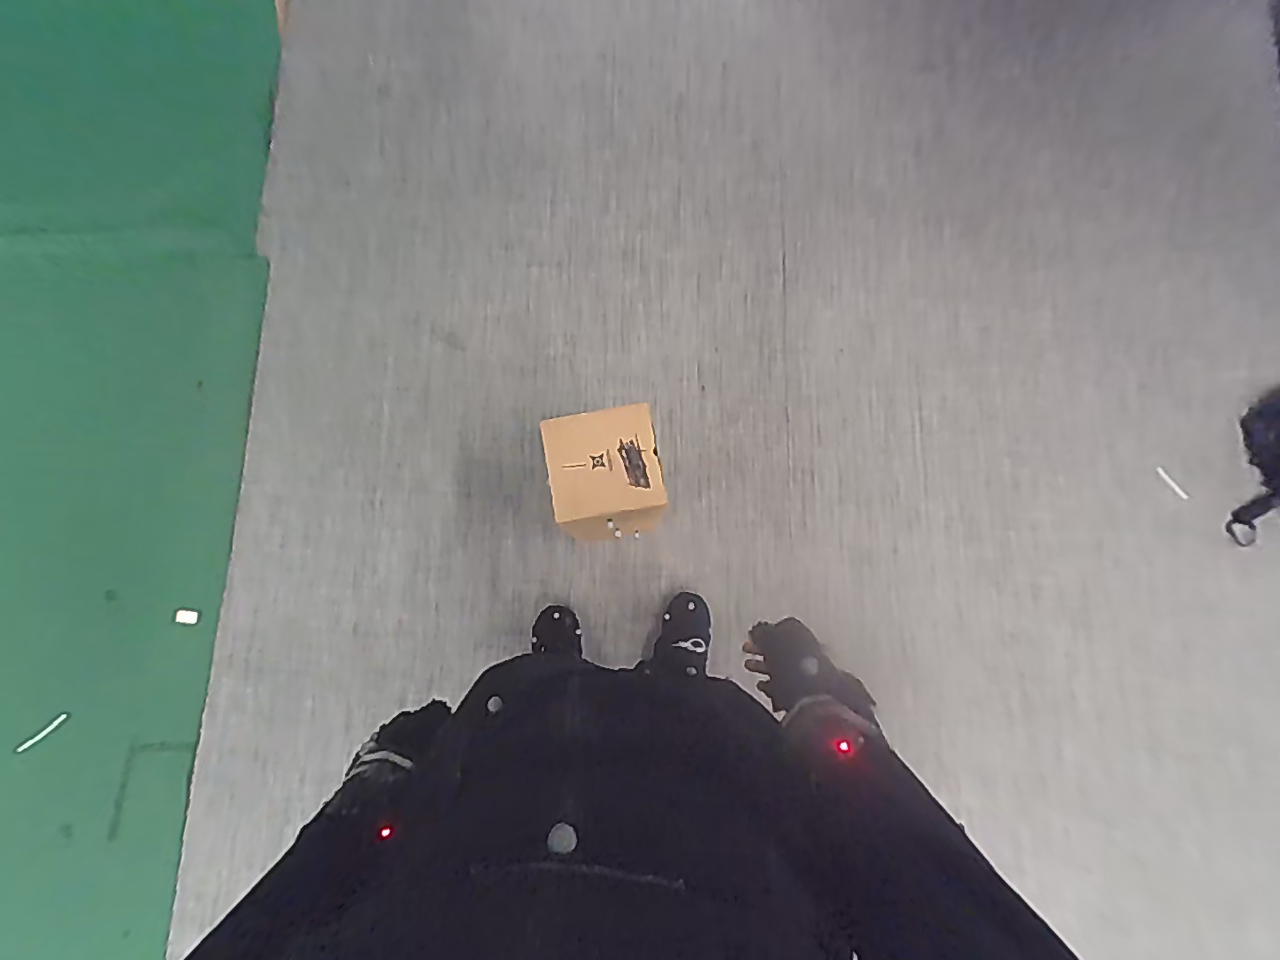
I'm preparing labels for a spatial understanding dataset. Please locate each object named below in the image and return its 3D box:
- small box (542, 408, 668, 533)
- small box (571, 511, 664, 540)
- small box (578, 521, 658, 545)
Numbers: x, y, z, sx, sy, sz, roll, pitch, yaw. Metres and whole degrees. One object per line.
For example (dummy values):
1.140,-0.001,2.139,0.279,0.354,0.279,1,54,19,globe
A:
-0.057,-0.009,0.916,0.179,0.176,0.168,-10,80,-1,small box
-0.059,0.021,1.081,0.179,0.176,0.168,-14,82,-2,small box
-0.062,0.051,1.239,0.179,0.176,0.168,-12,80,-1,small box
